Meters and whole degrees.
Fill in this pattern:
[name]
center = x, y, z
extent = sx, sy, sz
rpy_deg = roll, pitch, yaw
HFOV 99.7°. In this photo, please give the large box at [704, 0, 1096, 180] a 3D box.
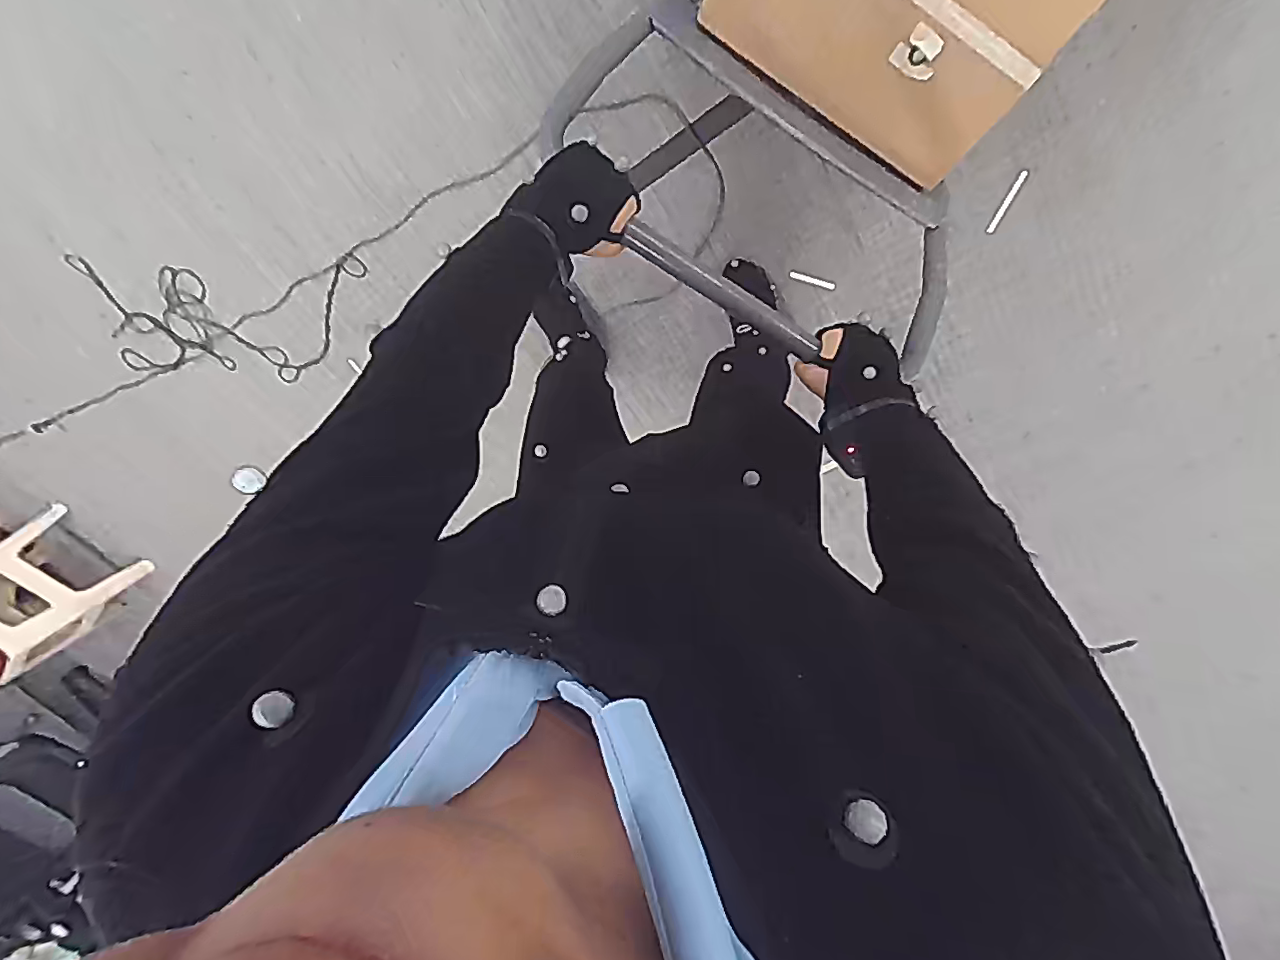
[large box]
center = 0.356, -0.710, 0.733
extent = 0.408, 0.320, 0.320
rpy_deg = 29, 142, -9
